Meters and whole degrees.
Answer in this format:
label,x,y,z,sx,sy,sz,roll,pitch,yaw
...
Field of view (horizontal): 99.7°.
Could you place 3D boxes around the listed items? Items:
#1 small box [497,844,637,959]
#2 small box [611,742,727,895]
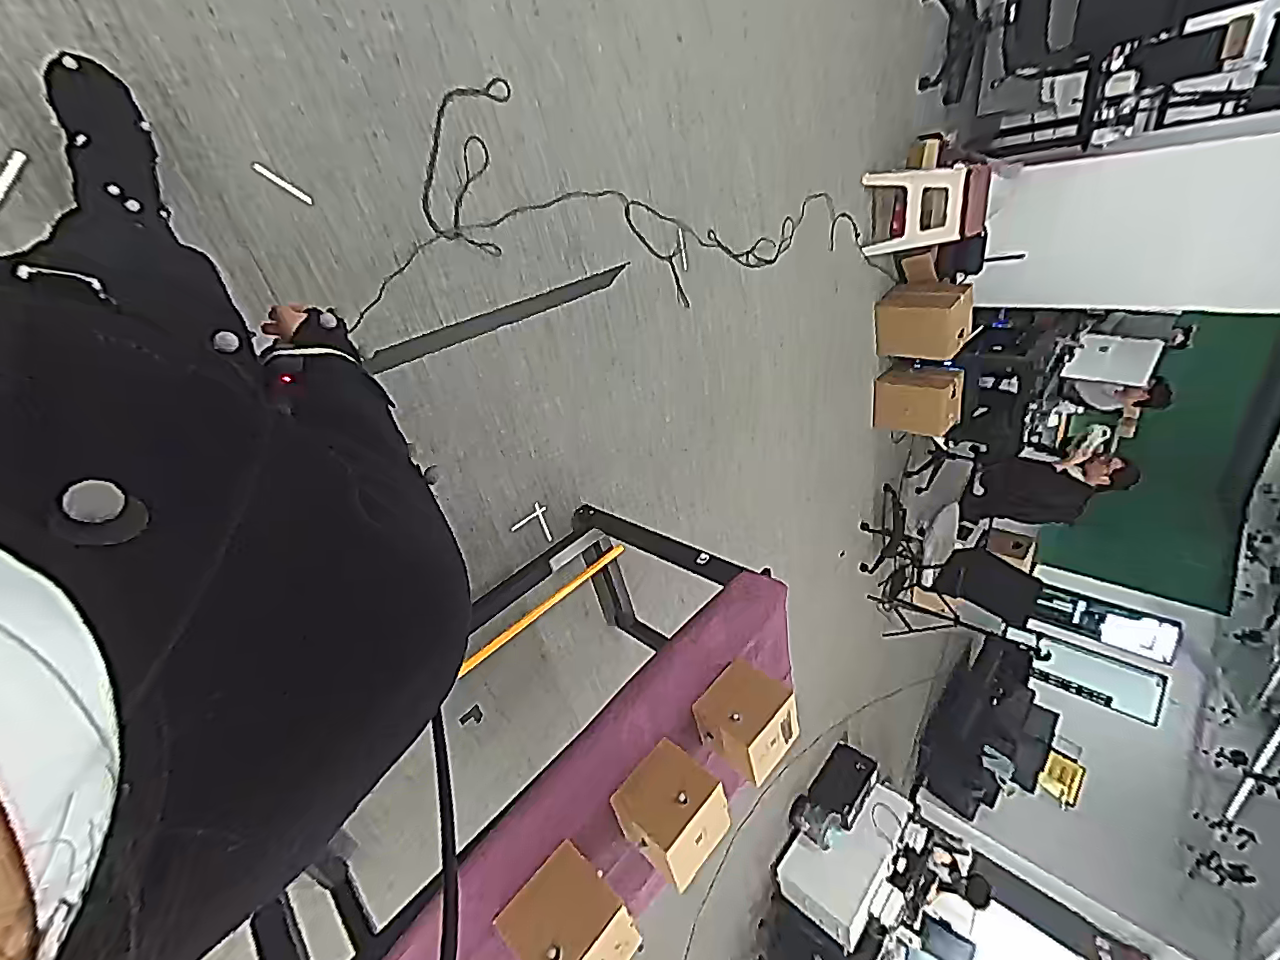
label,x,y,z,sx,sy,sz,roll,pitch,yaw
small box,-0.136,0.821,0.978,0.179,0.176,0.168,-36,129,-33
small box,0.057,0.705,1.143,0.179,0.176,0.168,-35,126,-33
